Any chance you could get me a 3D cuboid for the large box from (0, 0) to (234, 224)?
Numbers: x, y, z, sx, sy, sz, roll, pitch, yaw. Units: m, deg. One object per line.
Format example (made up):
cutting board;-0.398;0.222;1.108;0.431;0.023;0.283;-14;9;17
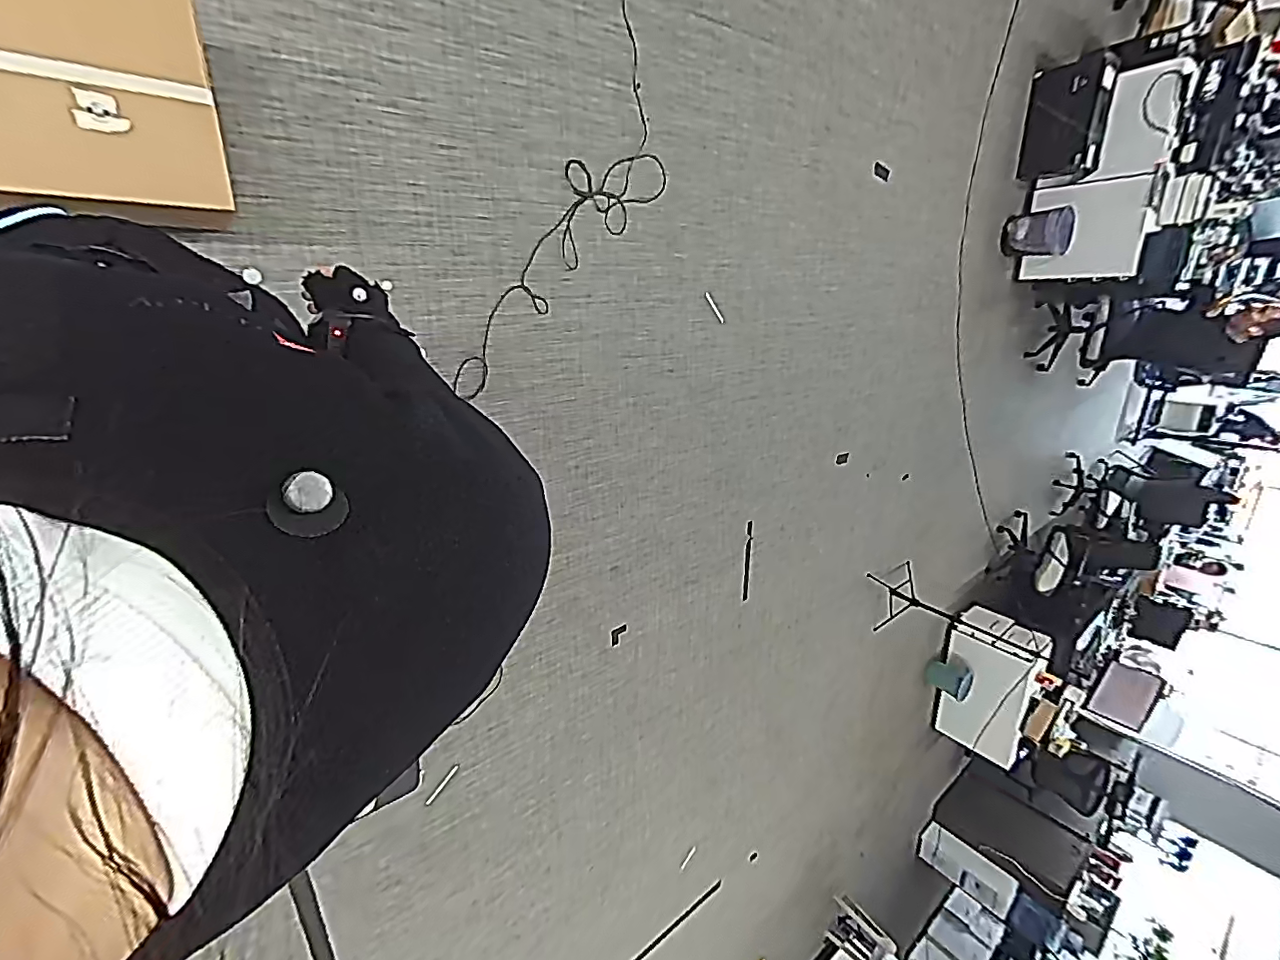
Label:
large box;-0.907;-0.588;0.822;0.408;0.320;0.320;-14;114;-37
